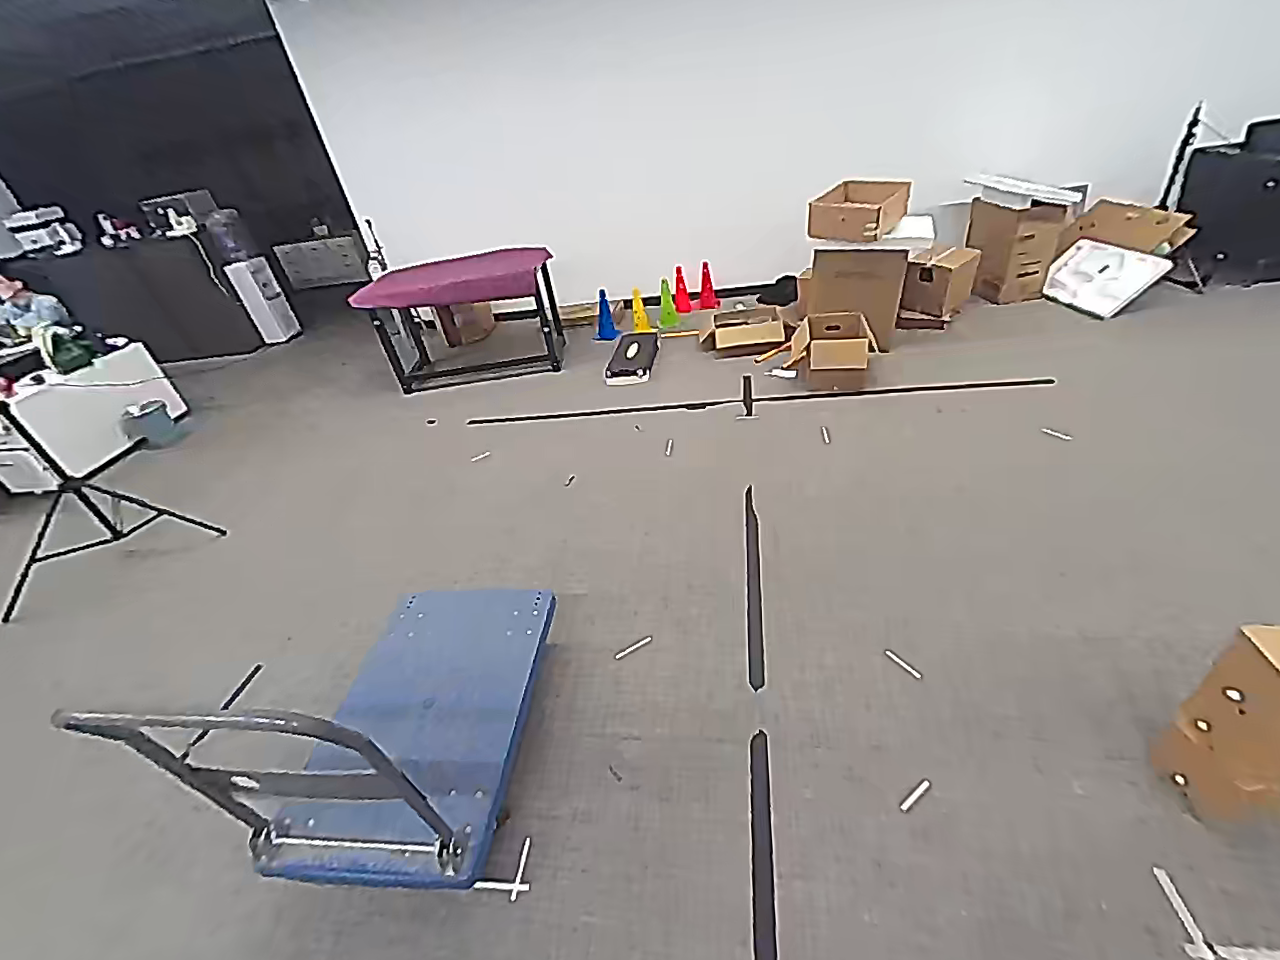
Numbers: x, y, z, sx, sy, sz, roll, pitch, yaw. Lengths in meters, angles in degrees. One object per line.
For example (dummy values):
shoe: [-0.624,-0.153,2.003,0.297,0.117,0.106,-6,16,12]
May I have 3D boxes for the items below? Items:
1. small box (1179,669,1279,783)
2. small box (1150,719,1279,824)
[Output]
small box: [1.351,0.535,1.173,0.179,0.176,0.168,-2,36,11]
small box: [1.366,0.671,1.262,0.179,0.176,0.168,-9,34,1]
